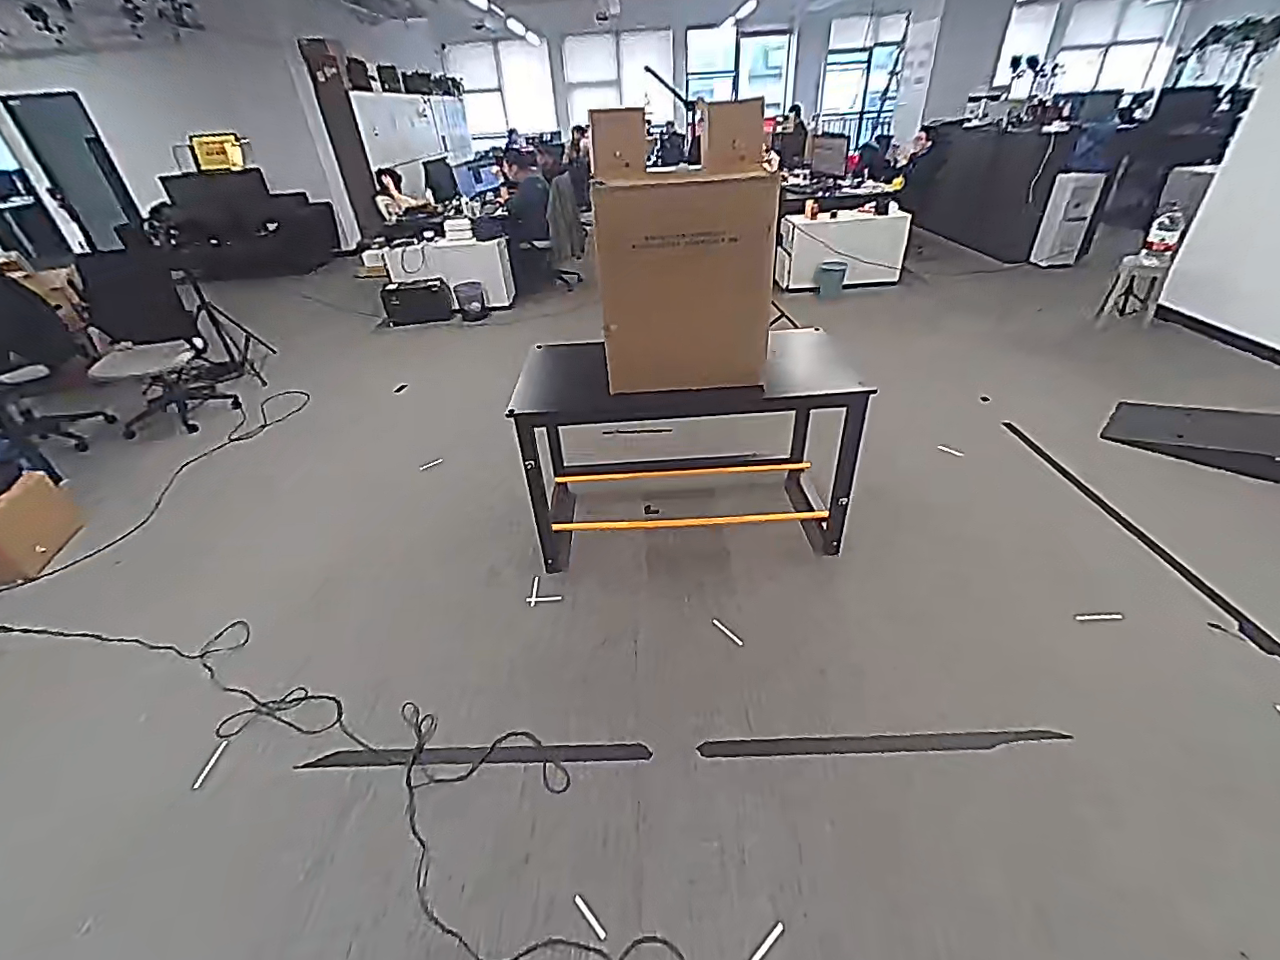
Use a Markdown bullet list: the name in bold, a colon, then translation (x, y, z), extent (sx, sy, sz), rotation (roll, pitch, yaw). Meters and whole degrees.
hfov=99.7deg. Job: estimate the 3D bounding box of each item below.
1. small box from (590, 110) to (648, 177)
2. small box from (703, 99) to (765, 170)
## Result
- **small box**: translation (-0.068, -1.043, 1.676), extent (0.168, 0.176, 0.179), rotation (-6, 34, -5)
- **small box**: translation (0.281, -1.052, 1.653), extent (0.168, 0.176, 0.179), rotation (-5, 33, 1)
